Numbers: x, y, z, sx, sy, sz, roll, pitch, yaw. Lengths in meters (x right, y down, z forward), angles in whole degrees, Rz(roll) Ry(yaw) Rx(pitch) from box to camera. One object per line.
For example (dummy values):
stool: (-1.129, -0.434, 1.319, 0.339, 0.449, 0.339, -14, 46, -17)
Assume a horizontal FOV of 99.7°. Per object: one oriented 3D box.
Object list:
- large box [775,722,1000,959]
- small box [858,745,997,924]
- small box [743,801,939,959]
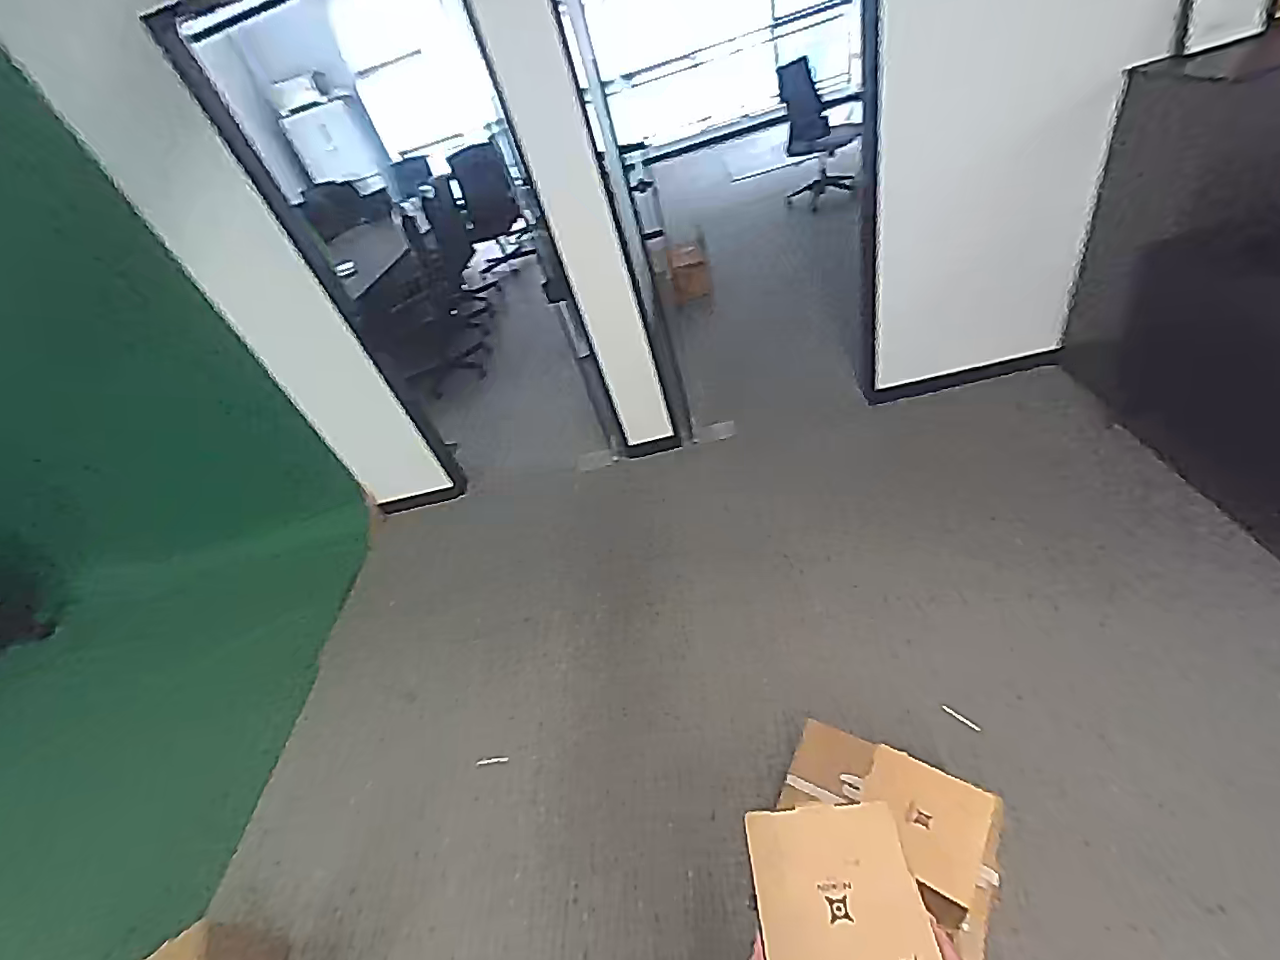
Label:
large box: (0.534, 0.820, 1.206, 0.408, 0.320, 0.320, 11, 47, 33)
small box: (0.452, 0.575, 0.878, 0.179, 0.176, 0.168, 14, 51, 36)
small box: (0.213, 0.489, 0.600, 0.168, 0.176, 0.179, -10, 39, 6)
